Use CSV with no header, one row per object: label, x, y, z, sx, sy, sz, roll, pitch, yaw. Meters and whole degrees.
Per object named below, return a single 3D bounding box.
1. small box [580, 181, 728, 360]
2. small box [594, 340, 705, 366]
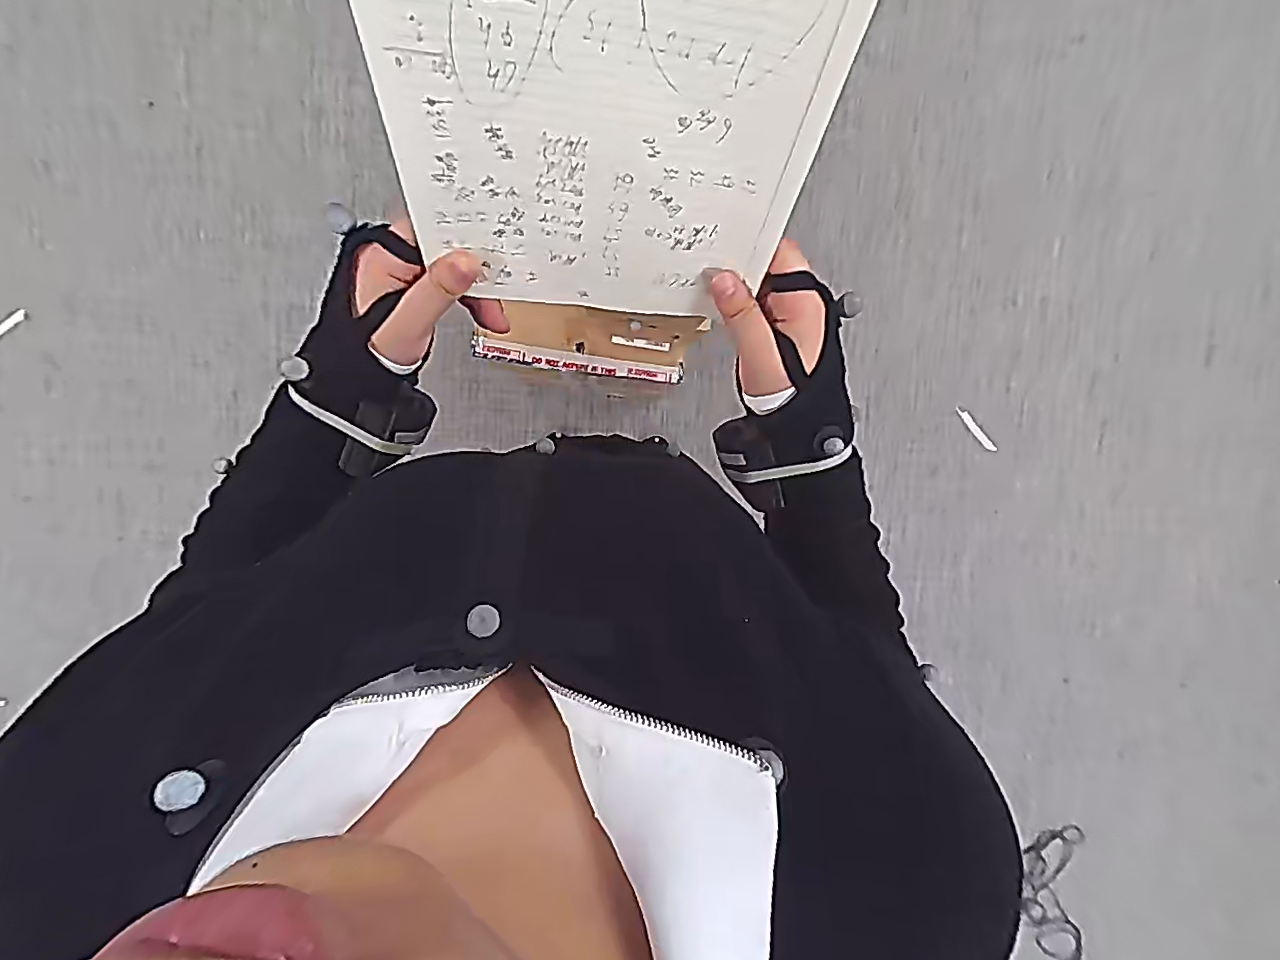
small box,0.010,-0.278,0.758,0.168,0.176,0.179,10,95,-6
small box,0.016,-0.293,0.923,0.179,0.176,0.168,6,95,-5
